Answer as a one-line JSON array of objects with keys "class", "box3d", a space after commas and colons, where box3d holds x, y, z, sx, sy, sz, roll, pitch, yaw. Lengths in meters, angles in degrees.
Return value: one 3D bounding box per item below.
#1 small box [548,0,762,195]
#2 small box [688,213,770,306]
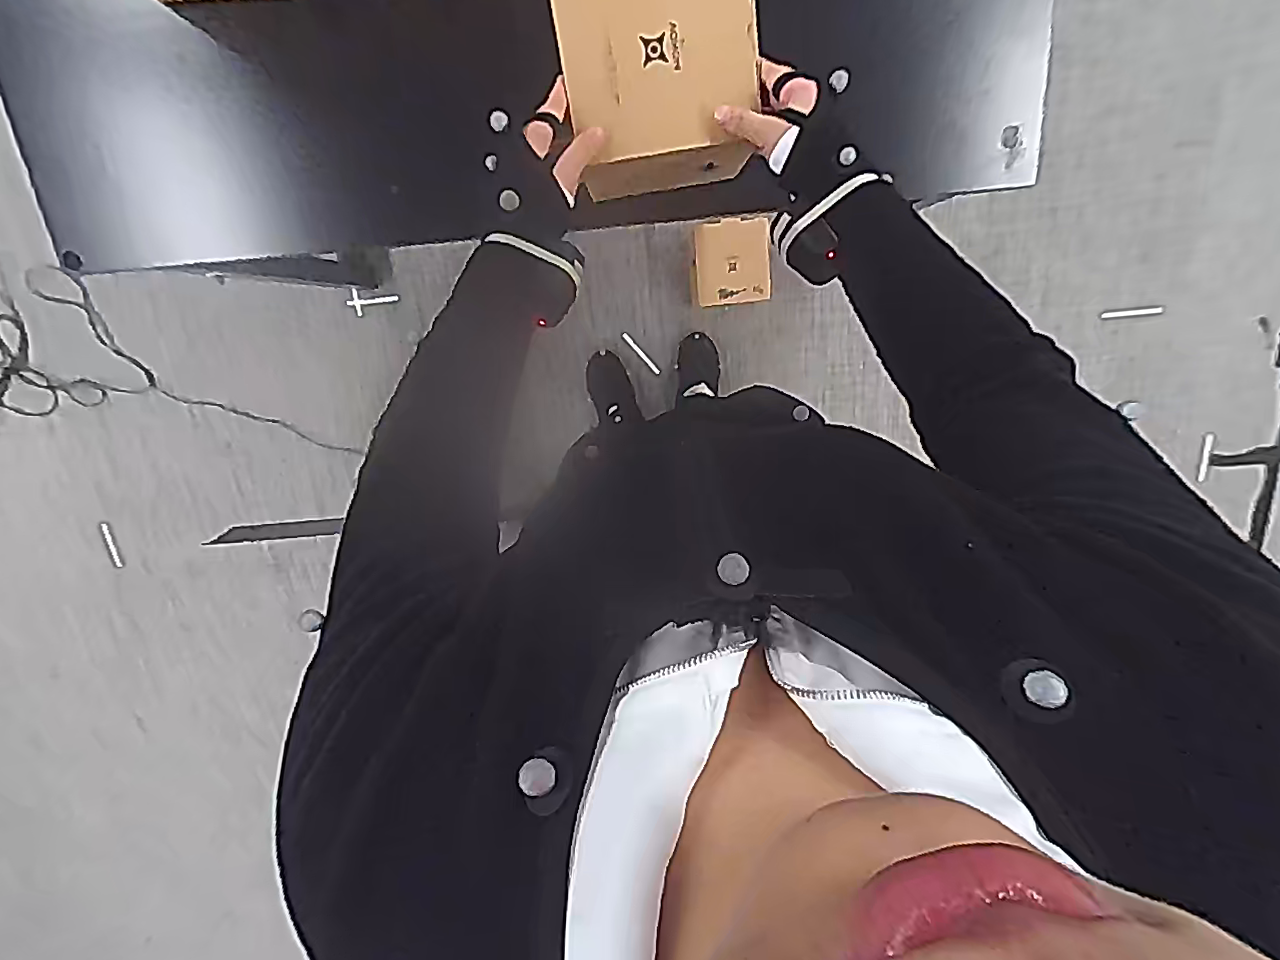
[{"class": "small box", "box3d": [0.014, -0.406, 0.547, 0.179, 0.176, 0.168, -9, 107, 4]}, {"class": "small box", "box3d": [0.207, -0.515, 1.283, 0.168, 0.176, 0.179, -5, 106, 3]}]
